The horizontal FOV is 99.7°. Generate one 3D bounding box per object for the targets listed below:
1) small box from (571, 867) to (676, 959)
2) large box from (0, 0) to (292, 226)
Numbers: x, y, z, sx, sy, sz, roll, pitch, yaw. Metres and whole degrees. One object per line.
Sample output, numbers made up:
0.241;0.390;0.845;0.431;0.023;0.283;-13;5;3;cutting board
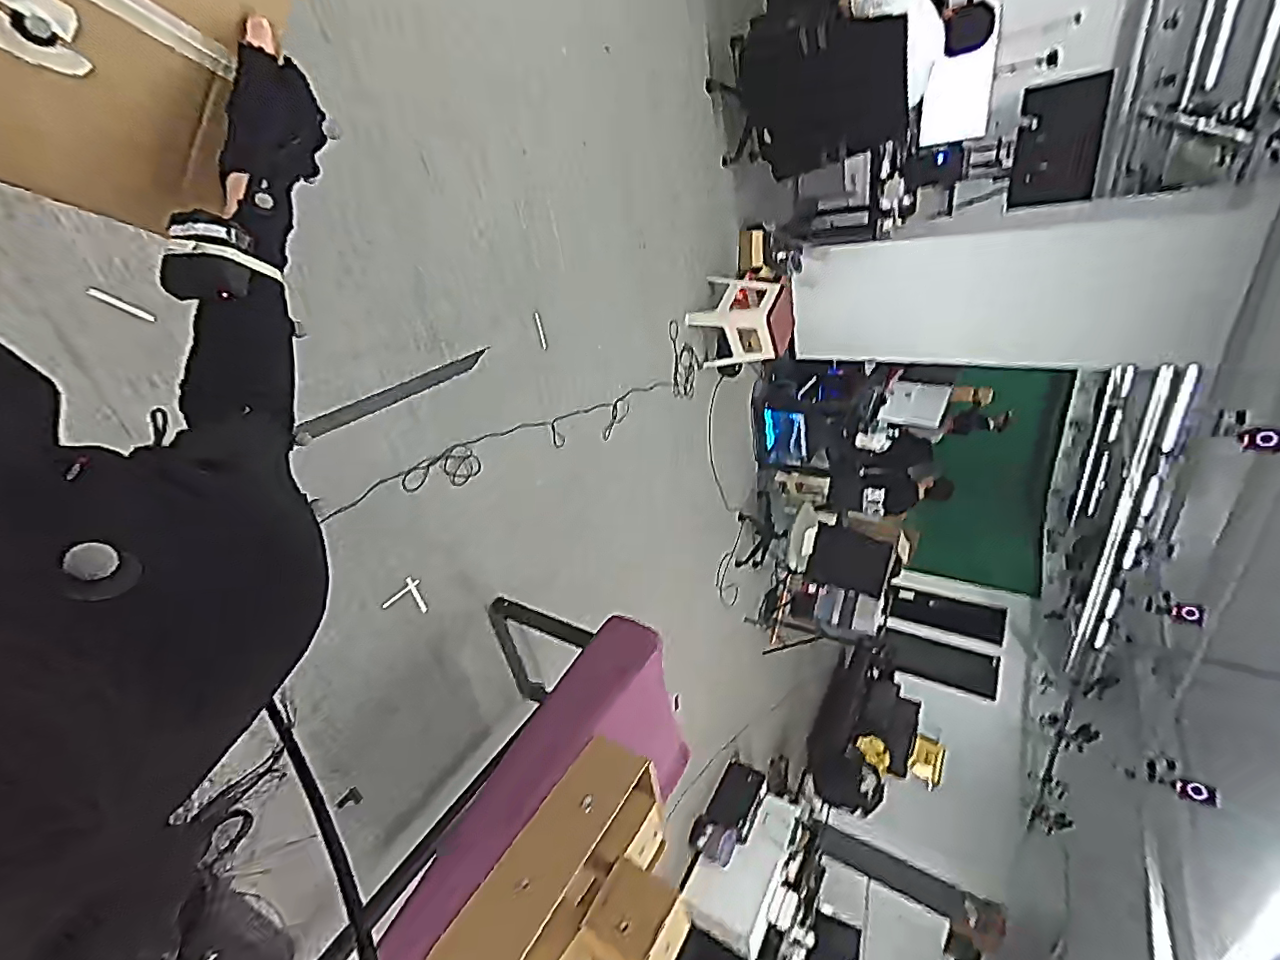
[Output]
-0.036;1.028;1.225;0.168;0.176;0.179;-41;133;-43;small box
-0.524;-0.446;0.353;0.320;0.320;0.408;-57;156;15;large box
